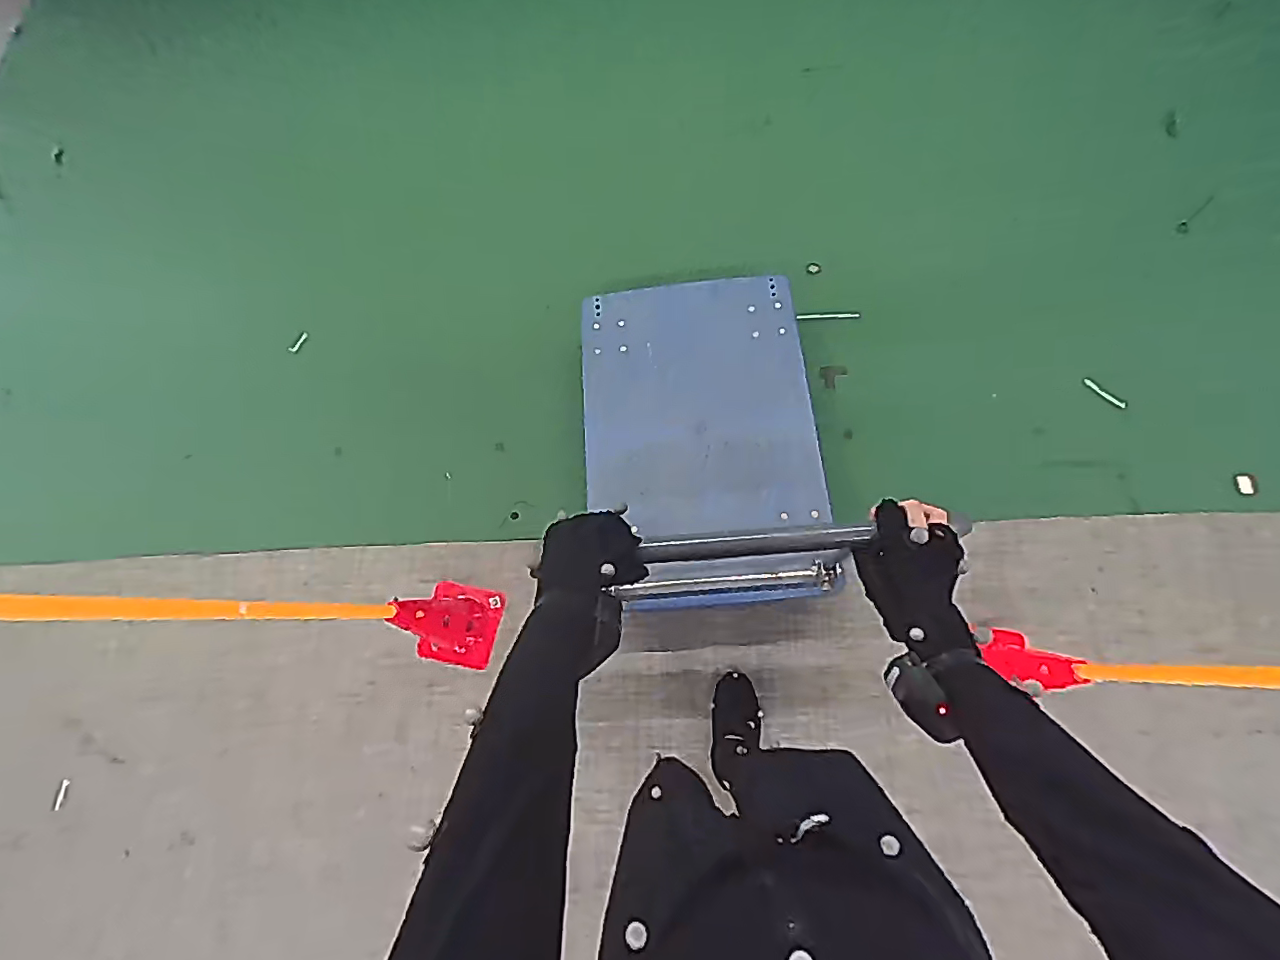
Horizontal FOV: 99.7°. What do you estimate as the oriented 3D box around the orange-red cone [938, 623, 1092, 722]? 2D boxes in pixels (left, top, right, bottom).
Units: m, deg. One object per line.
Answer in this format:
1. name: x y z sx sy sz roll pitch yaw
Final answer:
1. orange-red cone: 0.788 0.396 1.107 0.198 0.360 0.199 8 73 9
